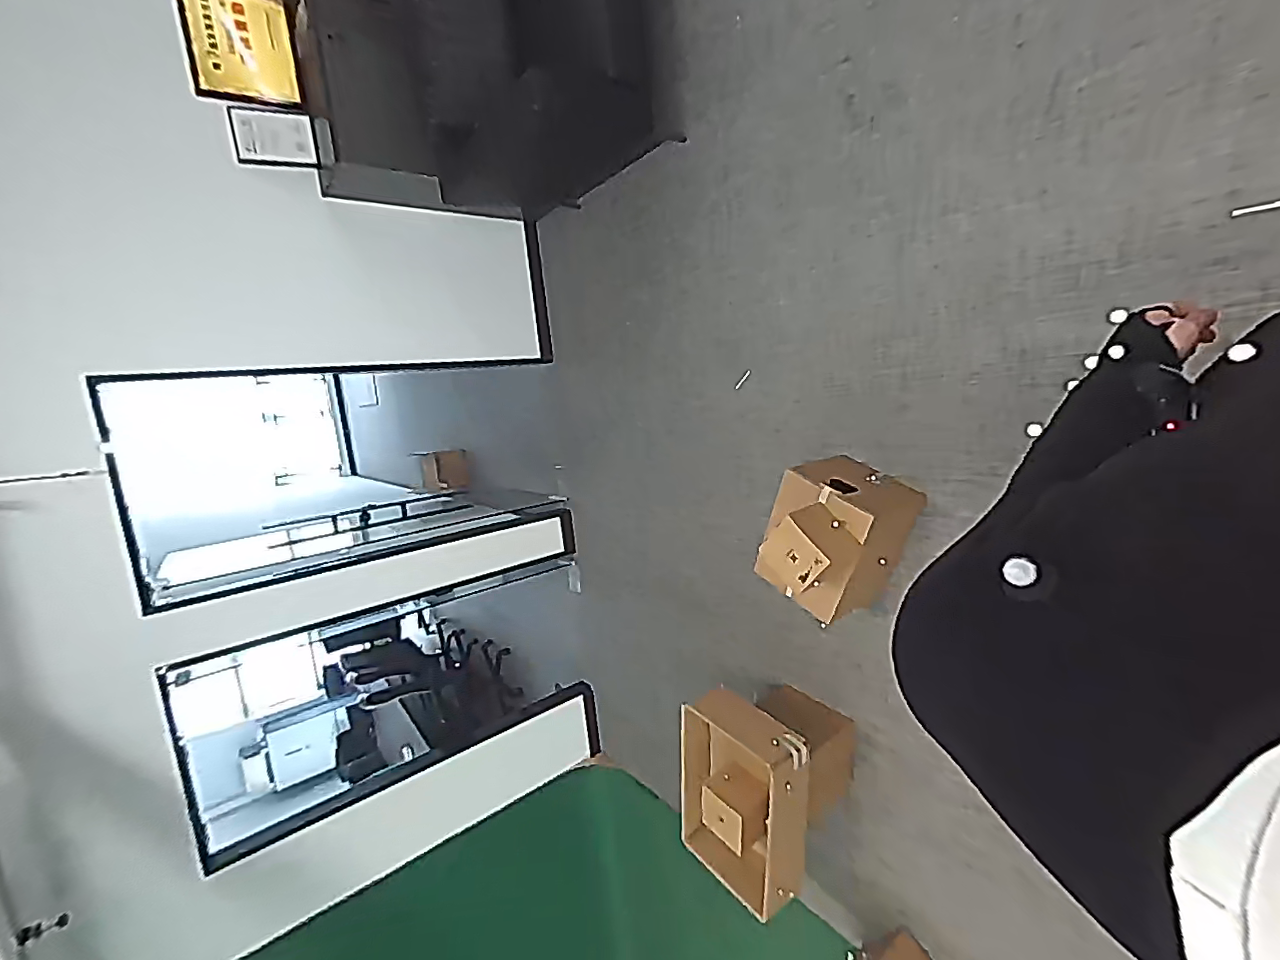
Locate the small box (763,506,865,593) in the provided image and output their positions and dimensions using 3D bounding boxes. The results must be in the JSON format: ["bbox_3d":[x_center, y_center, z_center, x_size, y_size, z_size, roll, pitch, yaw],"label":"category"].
[{"bbox_3d":[0.494,0.189,1.540,0.179,0.176,0.168,53,137,27],"label":"small box"}]

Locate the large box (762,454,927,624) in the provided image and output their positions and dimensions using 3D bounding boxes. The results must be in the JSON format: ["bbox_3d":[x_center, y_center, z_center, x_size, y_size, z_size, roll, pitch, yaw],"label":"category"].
[{"bbox_3d":[0.649,0.172,1.744,0.320,0.320,0.408,36,128,42],"label":"large box"}]
